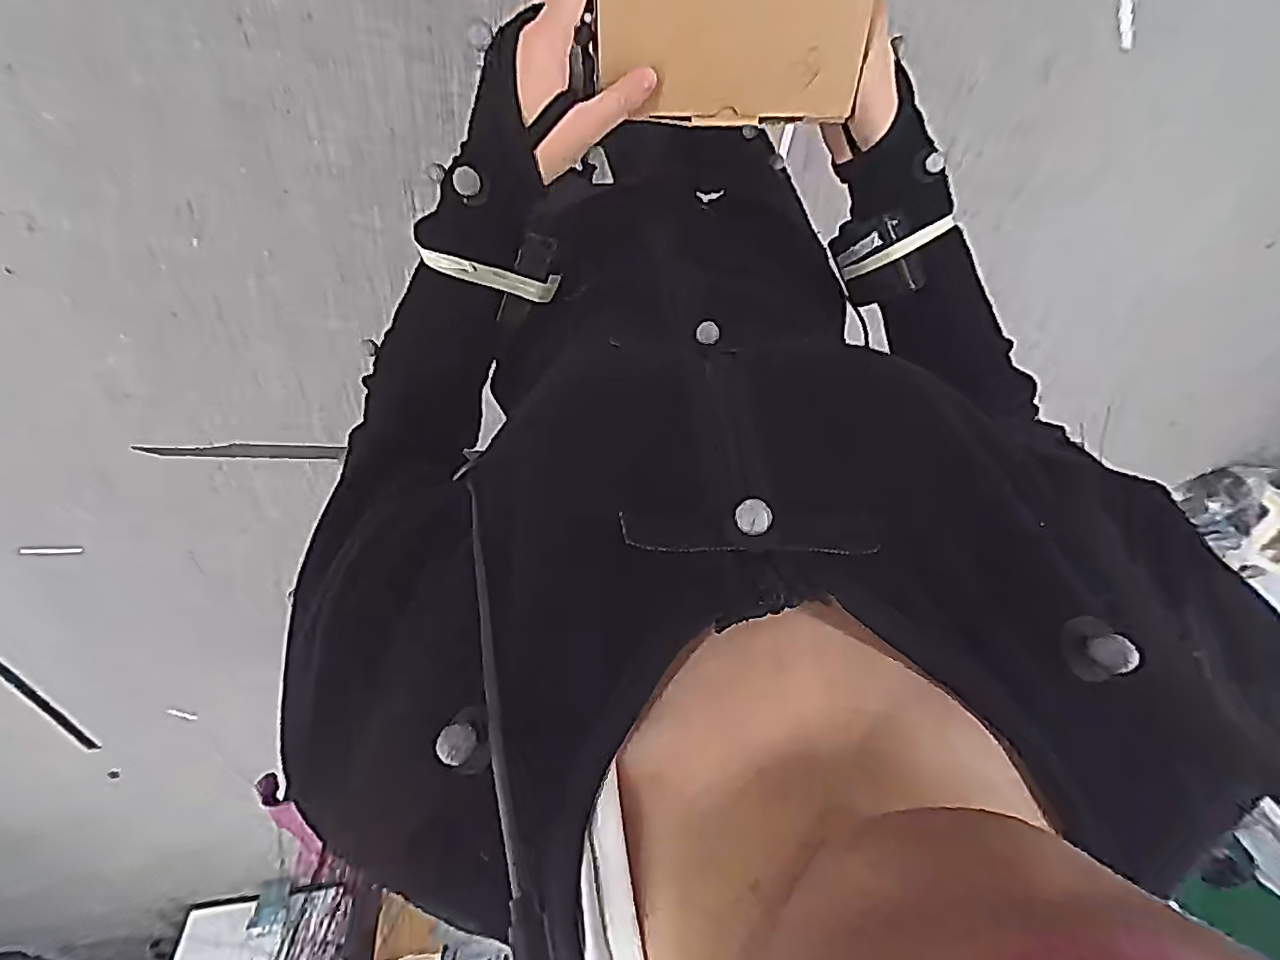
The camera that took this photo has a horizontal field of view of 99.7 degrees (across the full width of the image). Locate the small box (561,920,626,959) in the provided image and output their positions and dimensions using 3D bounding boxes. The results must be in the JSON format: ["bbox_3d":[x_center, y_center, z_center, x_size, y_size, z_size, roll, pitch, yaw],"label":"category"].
[{"bbox_3d":[-0.130,1.372,1.527,0.168,0.176,0.179,1,131,-15],"label":"small box"}]

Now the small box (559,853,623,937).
[{"bbox_3d":[-0.155,1.263,1.649,0.168,0.176,0.179,1,133,-14],"label":"small box"}]
